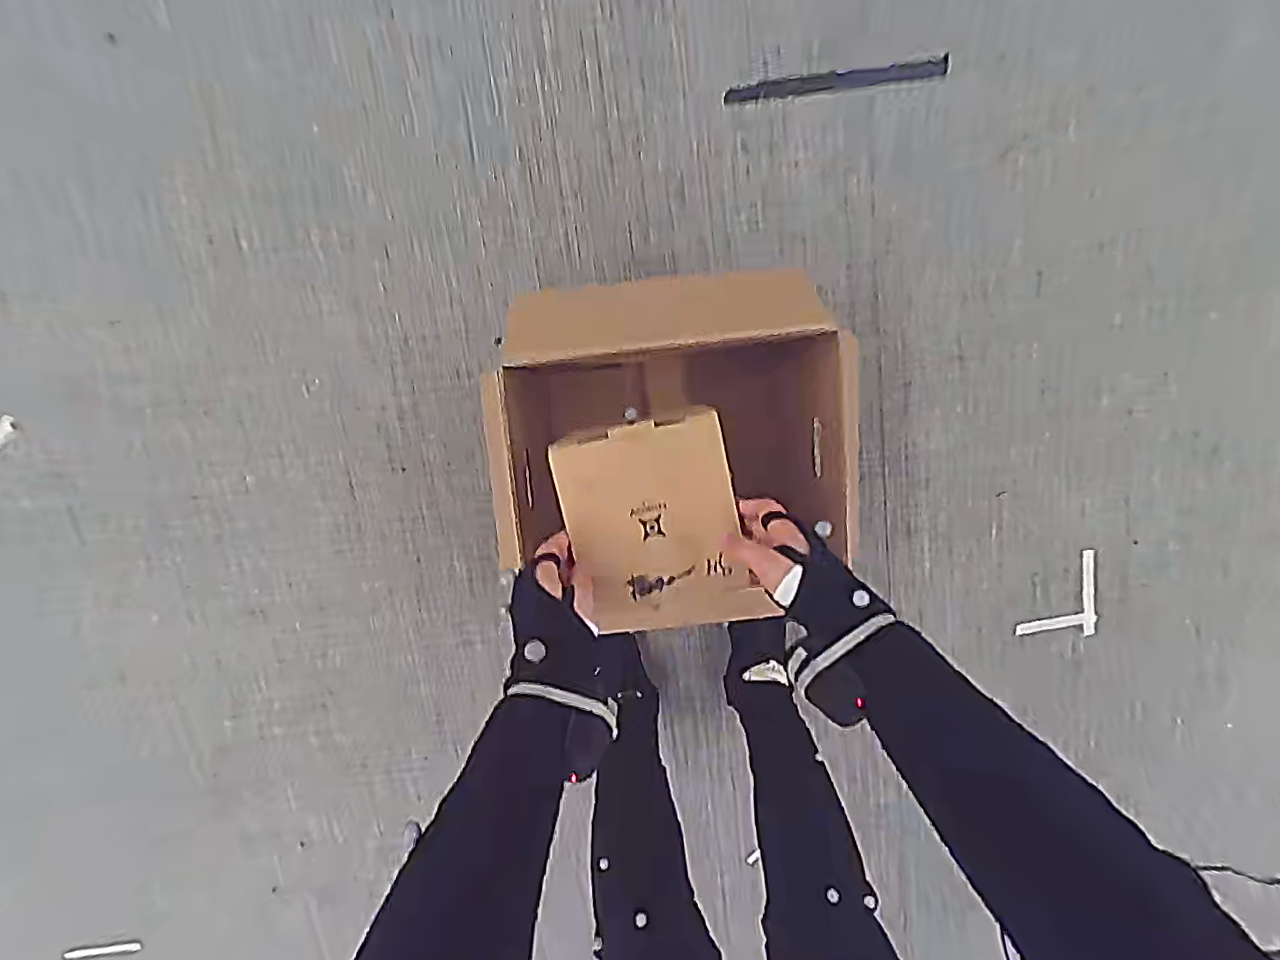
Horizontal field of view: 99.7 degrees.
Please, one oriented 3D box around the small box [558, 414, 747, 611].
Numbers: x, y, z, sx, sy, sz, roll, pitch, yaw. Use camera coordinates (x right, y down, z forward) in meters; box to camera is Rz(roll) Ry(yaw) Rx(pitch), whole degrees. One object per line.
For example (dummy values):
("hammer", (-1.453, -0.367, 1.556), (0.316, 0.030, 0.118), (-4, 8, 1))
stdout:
("small box", (0.013, 0.023, 0.615), (0.168, 0.176, 0.179), (-11, 100, 3))
